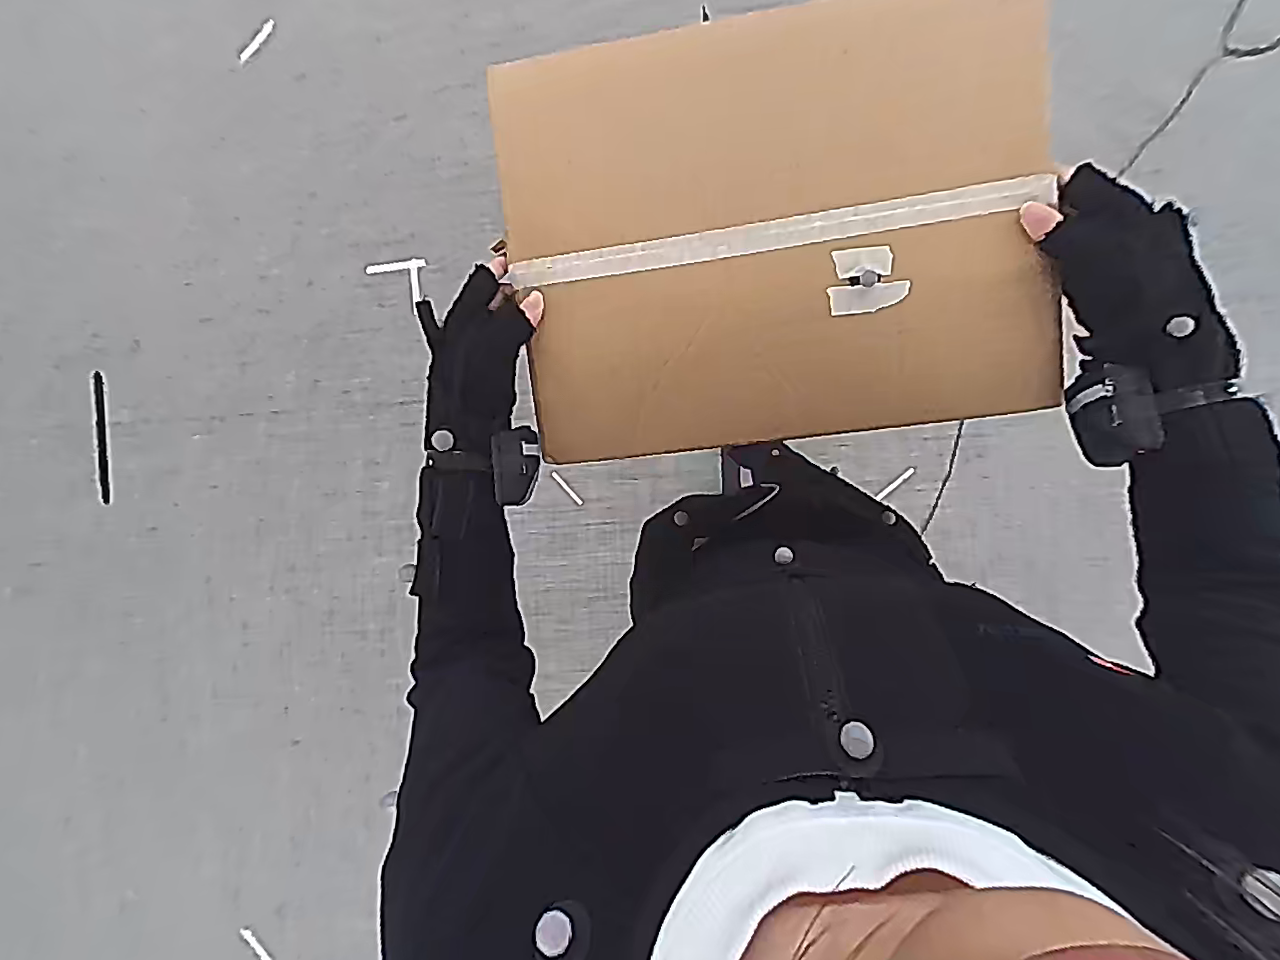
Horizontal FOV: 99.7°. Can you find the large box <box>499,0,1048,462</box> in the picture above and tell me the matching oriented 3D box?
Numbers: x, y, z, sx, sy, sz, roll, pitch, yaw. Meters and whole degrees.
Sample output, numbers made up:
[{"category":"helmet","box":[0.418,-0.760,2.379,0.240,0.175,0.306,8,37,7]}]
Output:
[{"category":"large box","box":[0.114,-0.209,0.574,0.408,0.320,0.320,-7,97,6]}]
